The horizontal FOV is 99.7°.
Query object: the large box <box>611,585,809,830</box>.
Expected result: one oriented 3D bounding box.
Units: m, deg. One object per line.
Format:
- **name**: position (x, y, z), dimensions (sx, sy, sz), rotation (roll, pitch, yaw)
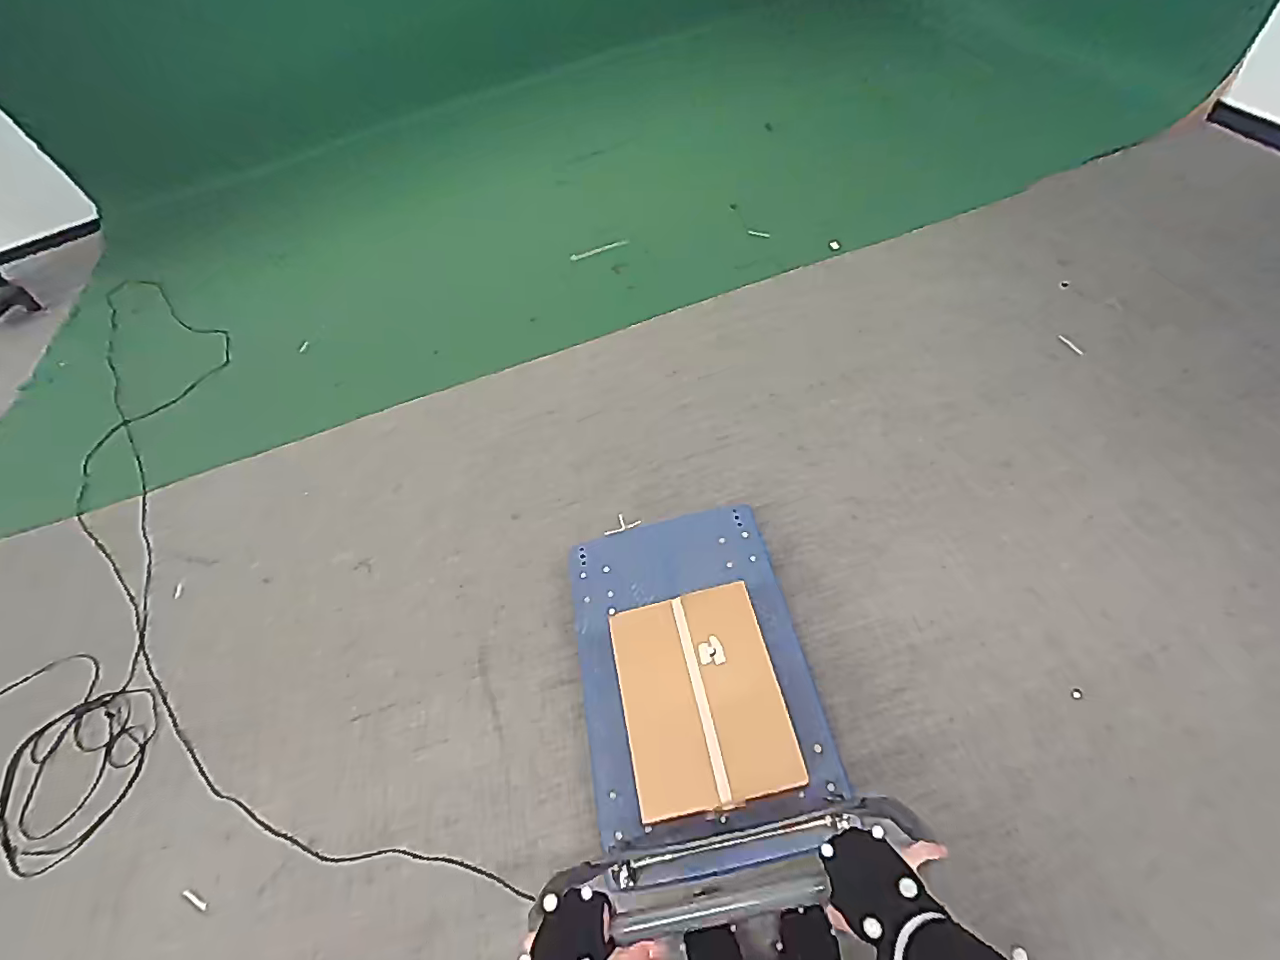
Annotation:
- **large box**: position (0.149, 0.509, 1.205), dimensions (0.320, 0.320, 0.408), rotation (-15, 54, 2)
